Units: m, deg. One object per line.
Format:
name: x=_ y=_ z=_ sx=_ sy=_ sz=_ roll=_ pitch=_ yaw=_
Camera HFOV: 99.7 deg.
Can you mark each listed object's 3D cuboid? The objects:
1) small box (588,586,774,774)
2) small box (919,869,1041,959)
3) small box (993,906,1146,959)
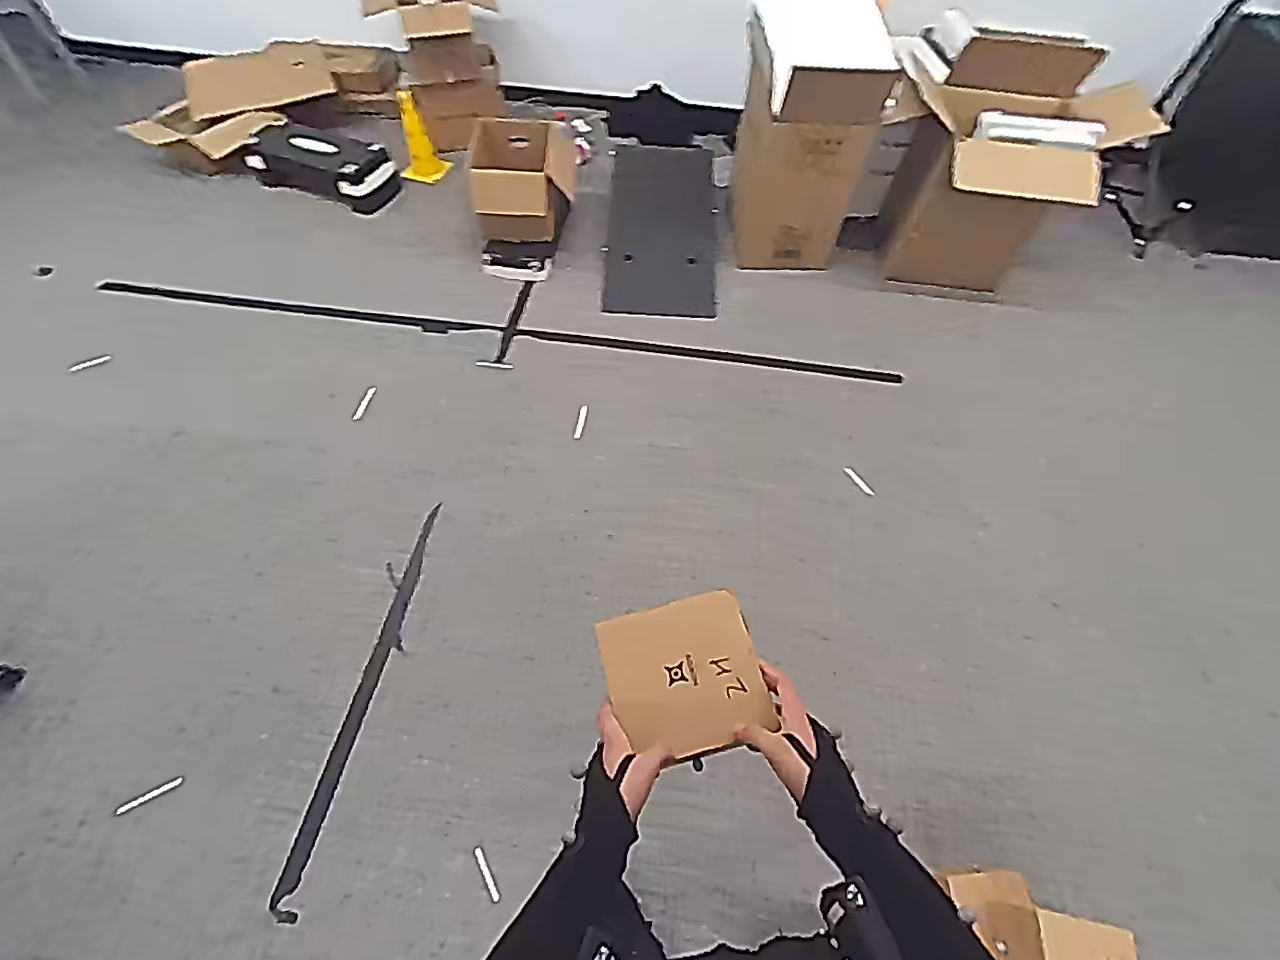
small box: x=0.048 y=0.254 z=0.671 sx=0.179 sy=0.176 sz=0.168 roll=-15 pitch=60 yaw=-3
small box: x=0.756 y=0.967 z=1.190 sx=0.179 sy=0.176 sz=0.168 roll=-2 pitch=57 yaw=-3
small box: x=0.813 y=0.931 z=1.021 sx=0.179 sy=0.176 sz=0.168 roll=11 pitch=57 yaw=5
